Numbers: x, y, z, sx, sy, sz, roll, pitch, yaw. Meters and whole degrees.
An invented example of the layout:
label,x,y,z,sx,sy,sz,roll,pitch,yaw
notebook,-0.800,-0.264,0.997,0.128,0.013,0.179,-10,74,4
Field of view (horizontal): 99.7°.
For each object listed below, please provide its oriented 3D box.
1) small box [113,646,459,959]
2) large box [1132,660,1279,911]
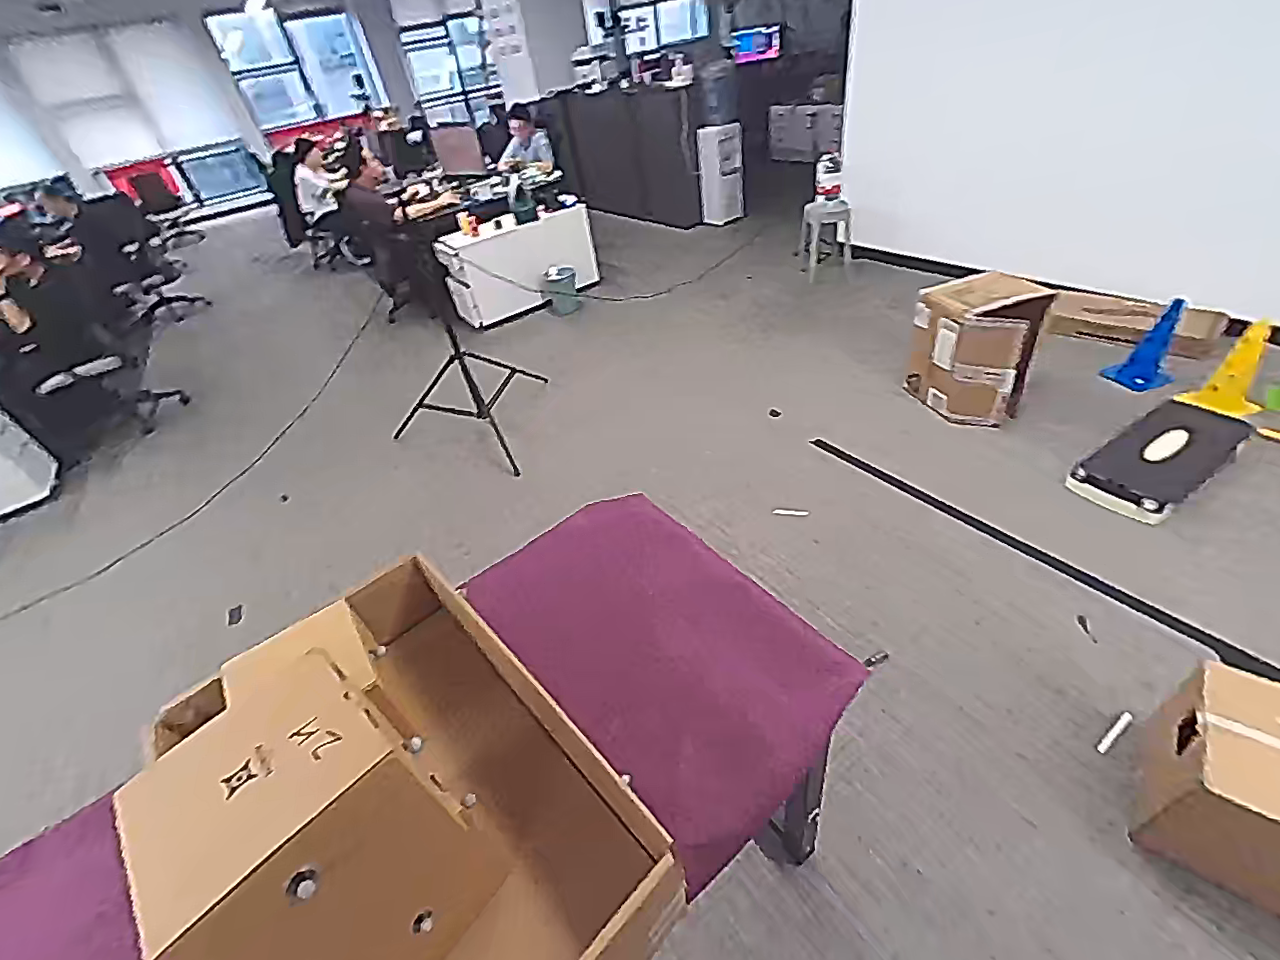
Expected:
label,x,y,z,sx,sy,sz,roll,pitch,yaw
small box,-0.296,0.293,0.477,0.168,0.176,0.179,24,49,38
large box,1.296,0.640,1.067,0.408,0.320,0.320,19,47,32
